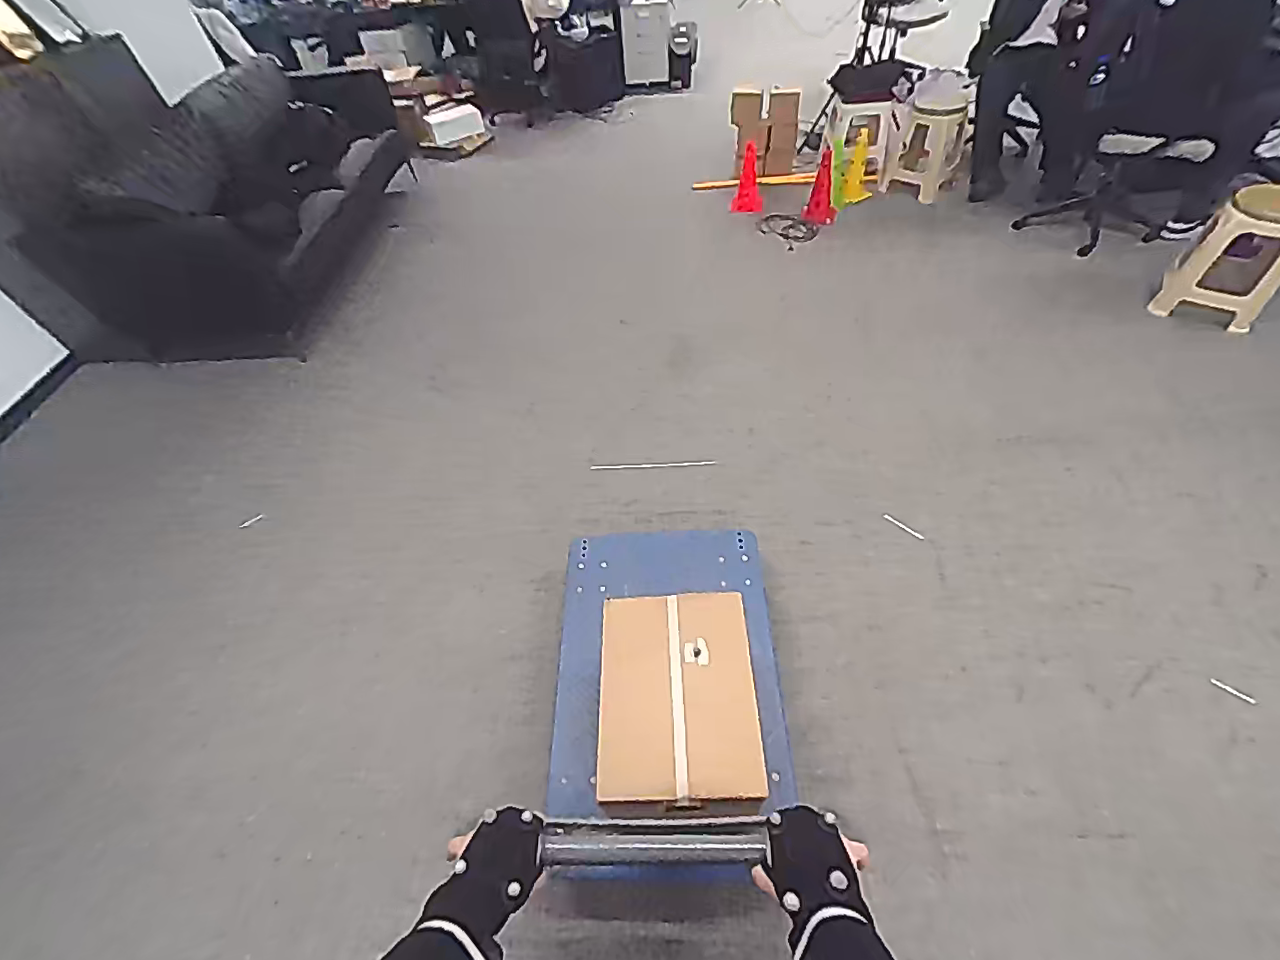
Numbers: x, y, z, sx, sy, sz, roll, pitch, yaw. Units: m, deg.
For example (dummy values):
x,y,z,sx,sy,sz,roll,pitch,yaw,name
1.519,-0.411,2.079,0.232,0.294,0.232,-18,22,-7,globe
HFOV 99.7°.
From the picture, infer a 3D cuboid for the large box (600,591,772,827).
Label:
x,y,z,sx,sy,sz,roll,pitch,yaw,name
0.092,0.506,1.199,0.320,0.320,0.408,-3,49,3,large box
